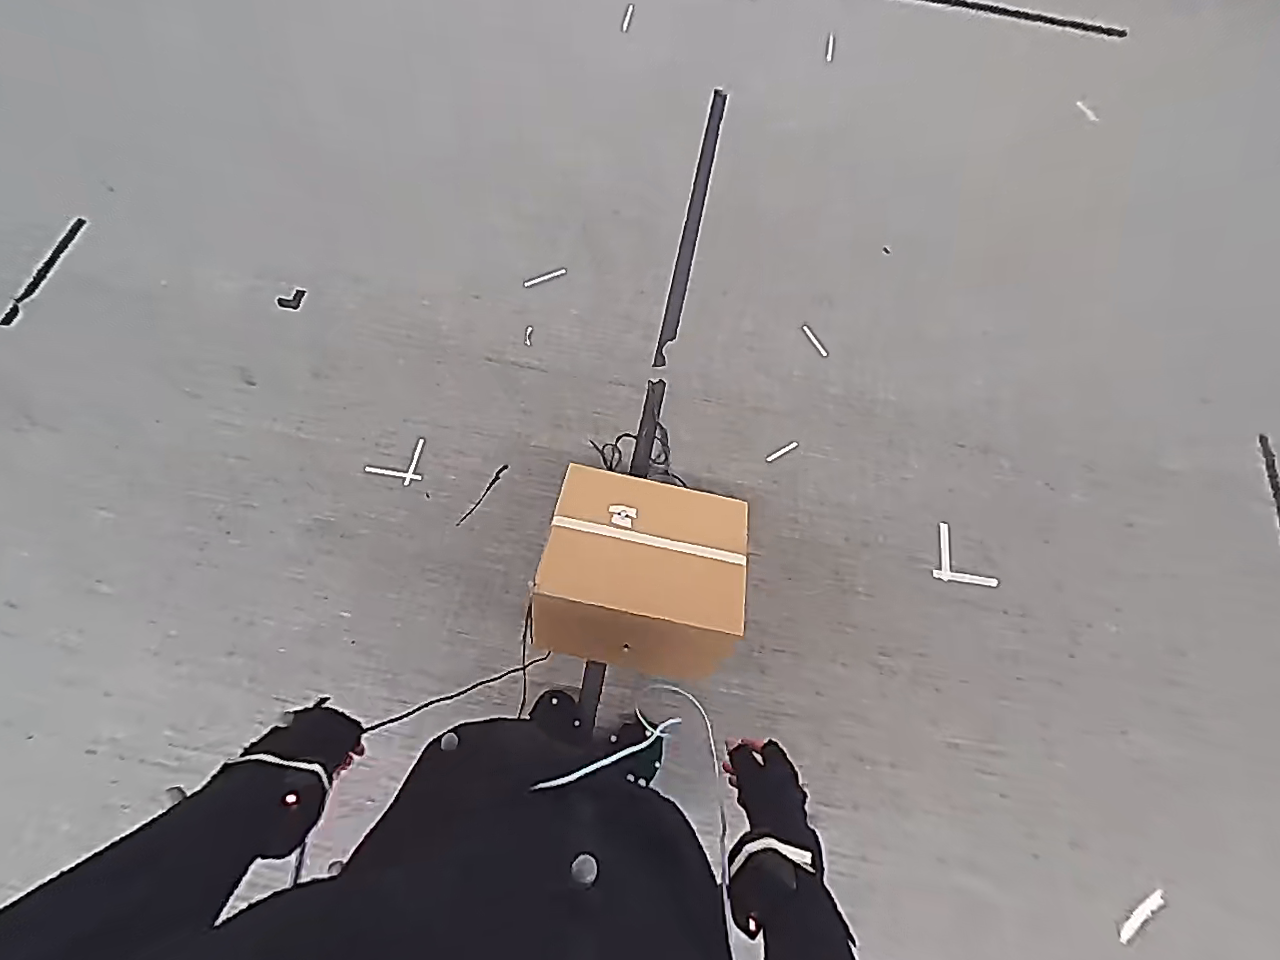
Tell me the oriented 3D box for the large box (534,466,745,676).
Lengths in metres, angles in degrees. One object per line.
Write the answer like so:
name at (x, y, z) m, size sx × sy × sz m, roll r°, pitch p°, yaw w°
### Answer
large box at (-0.002, 0.215, 1.220) m, size 0.408 × 0.320 × 0.320 m, roll 13°, pitch 51°, yaw -1°
